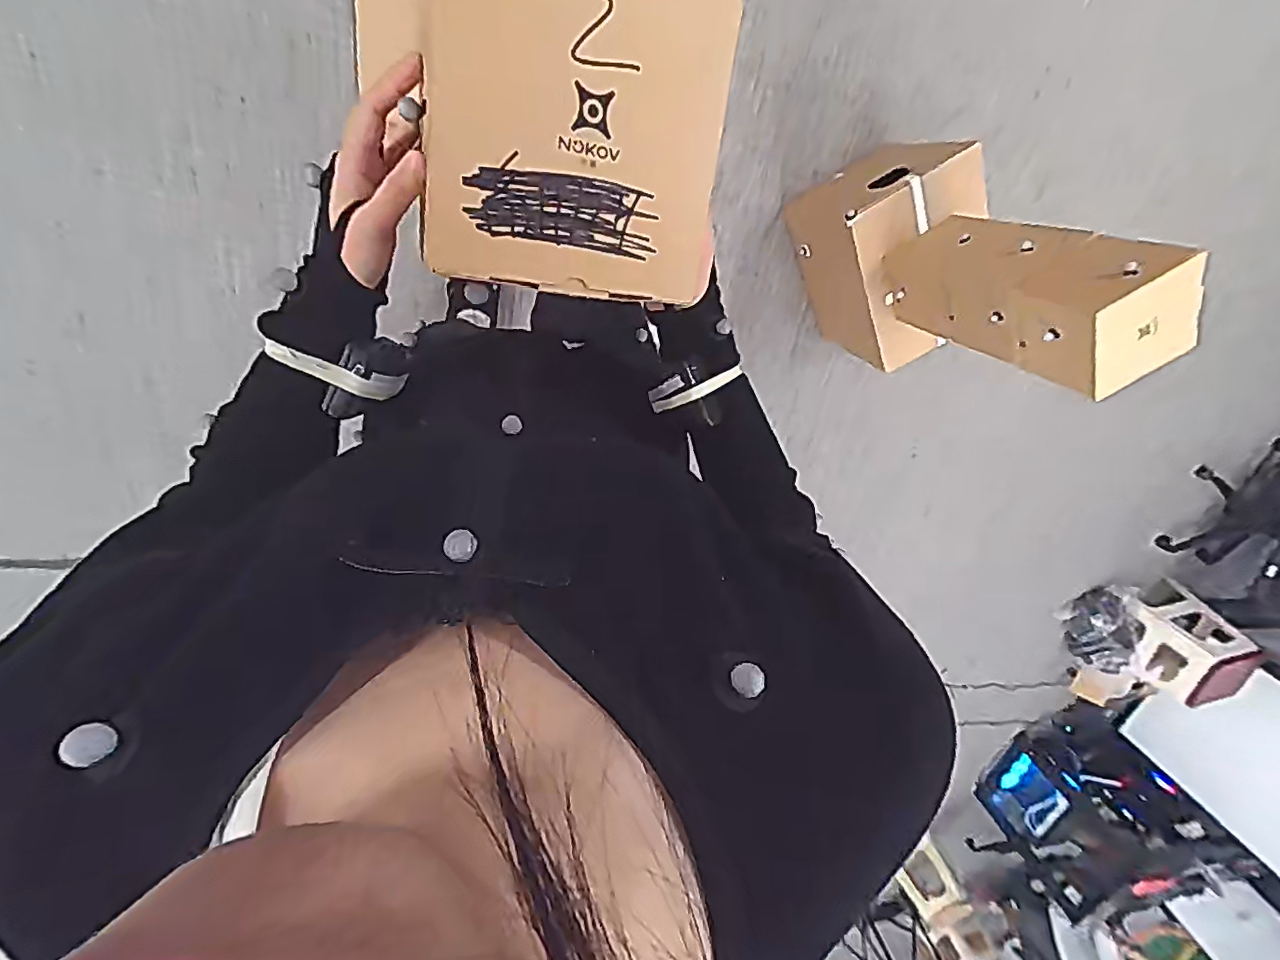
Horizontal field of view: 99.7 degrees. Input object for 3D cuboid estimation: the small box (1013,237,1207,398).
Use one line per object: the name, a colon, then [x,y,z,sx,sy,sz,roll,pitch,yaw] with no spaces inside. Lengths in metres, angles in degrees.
small box: [0.740,-0.267,0.874,0.179,0.176,0.168,-31,123,3]

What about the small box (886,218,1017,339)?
small box: [0.660,-0.432,1.145,0.179,0.176,0.168,-30,123,4]

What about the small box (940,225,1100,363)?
small box: [0.702,-0.352,1.008,0.179,0.176,0.168,-31,123,3]
